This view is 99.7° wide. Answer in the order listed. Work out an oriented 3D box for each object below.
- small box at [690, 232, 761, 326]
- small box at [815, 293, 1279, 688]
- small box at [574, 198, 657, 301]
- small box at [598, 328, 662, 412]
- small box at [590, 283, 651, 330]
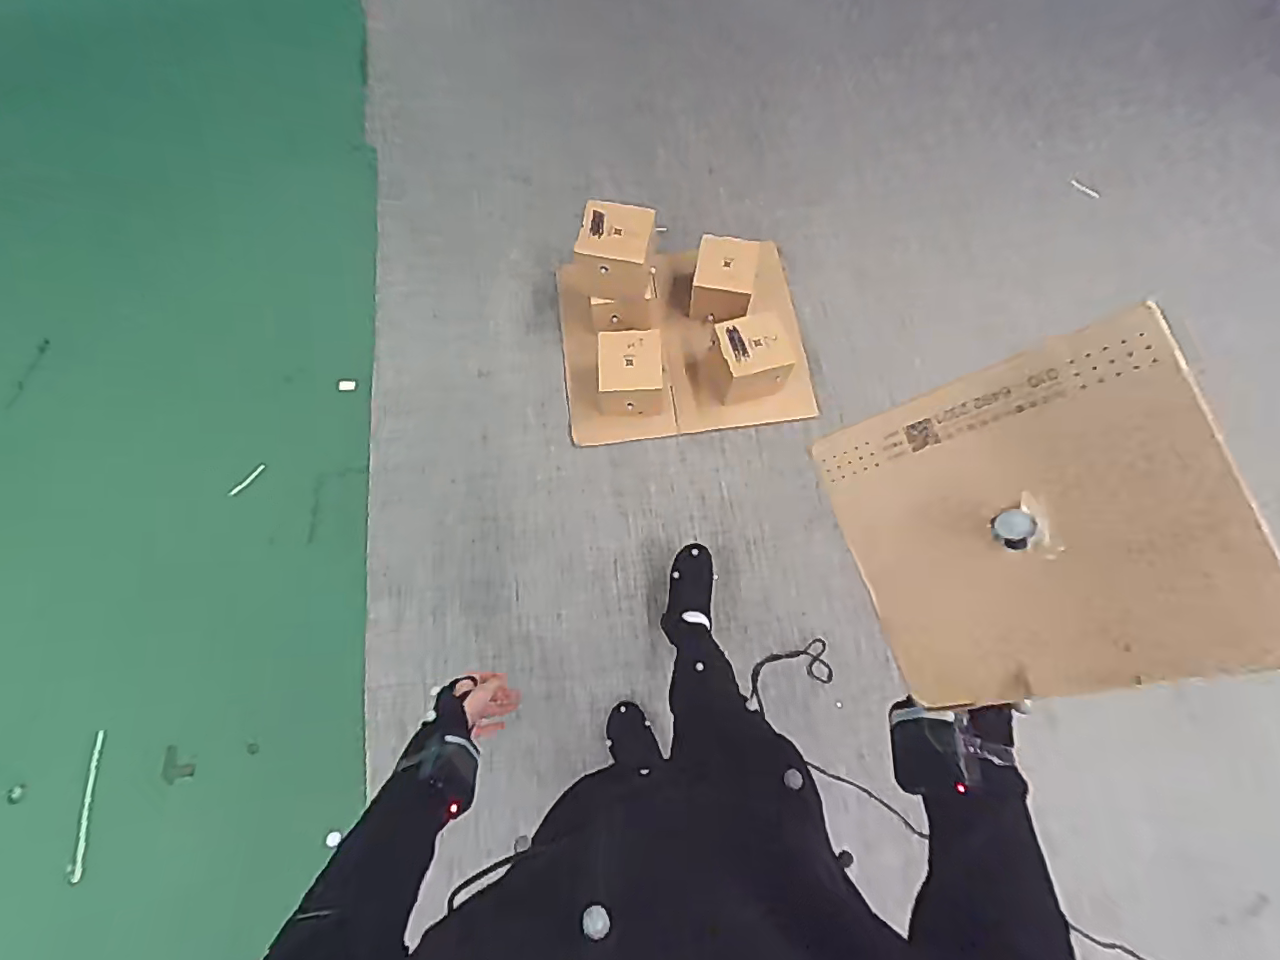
[{"bbox_3d":[0.240,-0.573,1.554,0.168,0.176,0.179,11,73,4],"label":"small box"},{"bbox_3d":[0.234,0.004,0.342,0.168,0.179,0.176,-24,84,34],"label":"small box"},{"bbox_3d":[-0.059,-0.588,1.396,0.179,0.176,0.168,11,73,3],"label":"small box"},{"bbox_3d":[-0.025,-0.291,1.473,0.168,0.176,0.179,-2,72,0],"label":"small box"},{"bbox_3d":[-0.057,-0.542,1.554,0.168,0.176,0.179,-6,72,-1],"label":"small box"}]
